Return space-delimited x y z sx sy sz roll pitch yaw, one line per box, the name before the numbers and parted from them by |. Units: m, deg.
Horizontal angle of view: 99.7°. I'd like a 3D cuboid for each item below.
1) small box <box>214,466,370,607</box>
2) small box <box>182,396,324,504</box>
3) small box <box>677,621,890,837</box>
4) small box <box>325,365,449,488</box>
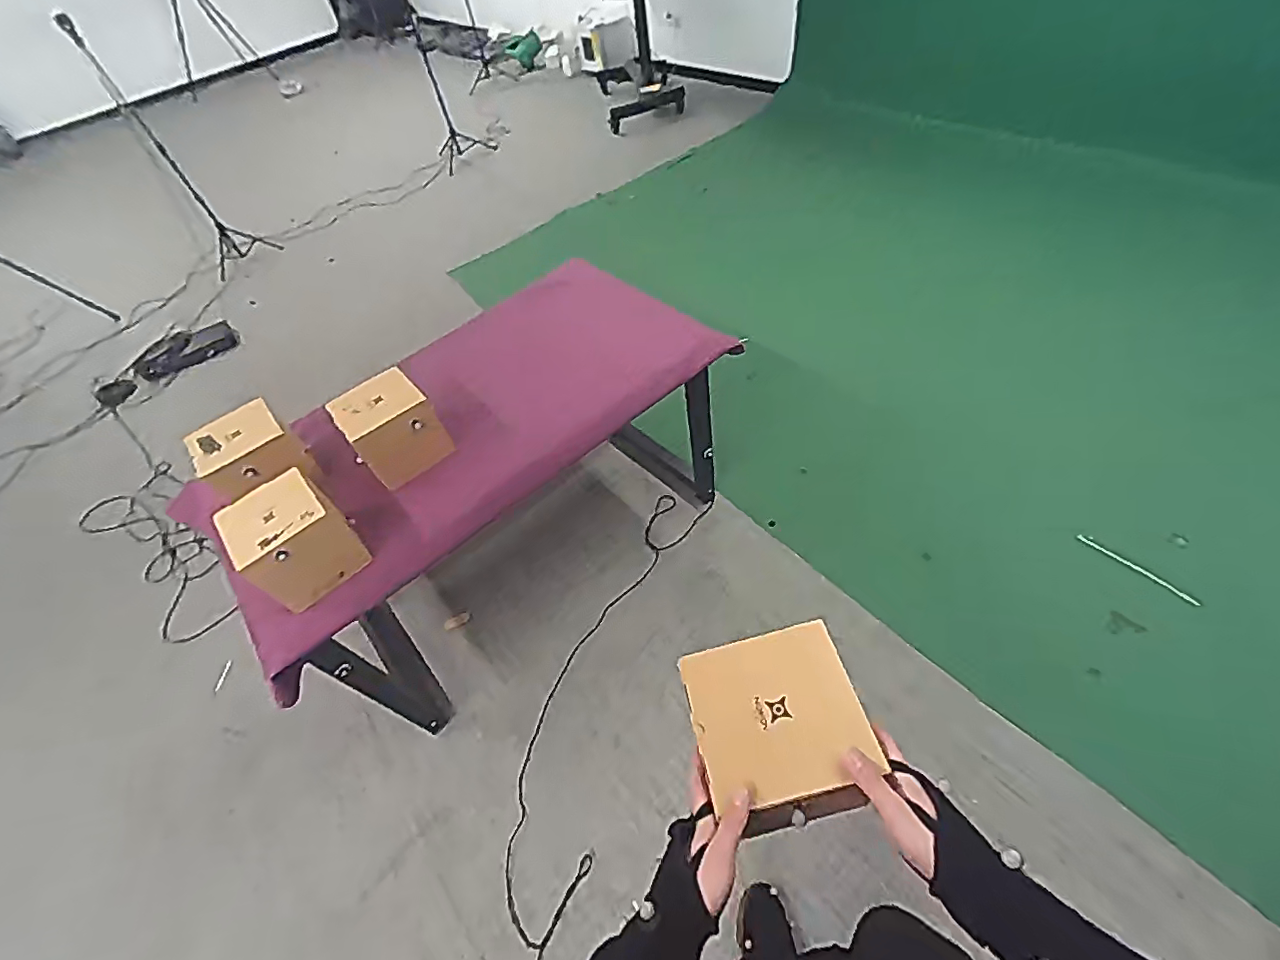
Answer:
small box | -0.665 0.112 1.044 0.168 0.176 0.179 -39 55 -19
small box | -0.852 -0.046 1.200 0.179 0.176 0.168 -37 56 -19
small box | 0.155 0.290 0.623 0.179 0.176 0.168 -17 49 2
small box | -0.552 -0.118 1.205 0.179 0.176 0.168 -37 55 -18
